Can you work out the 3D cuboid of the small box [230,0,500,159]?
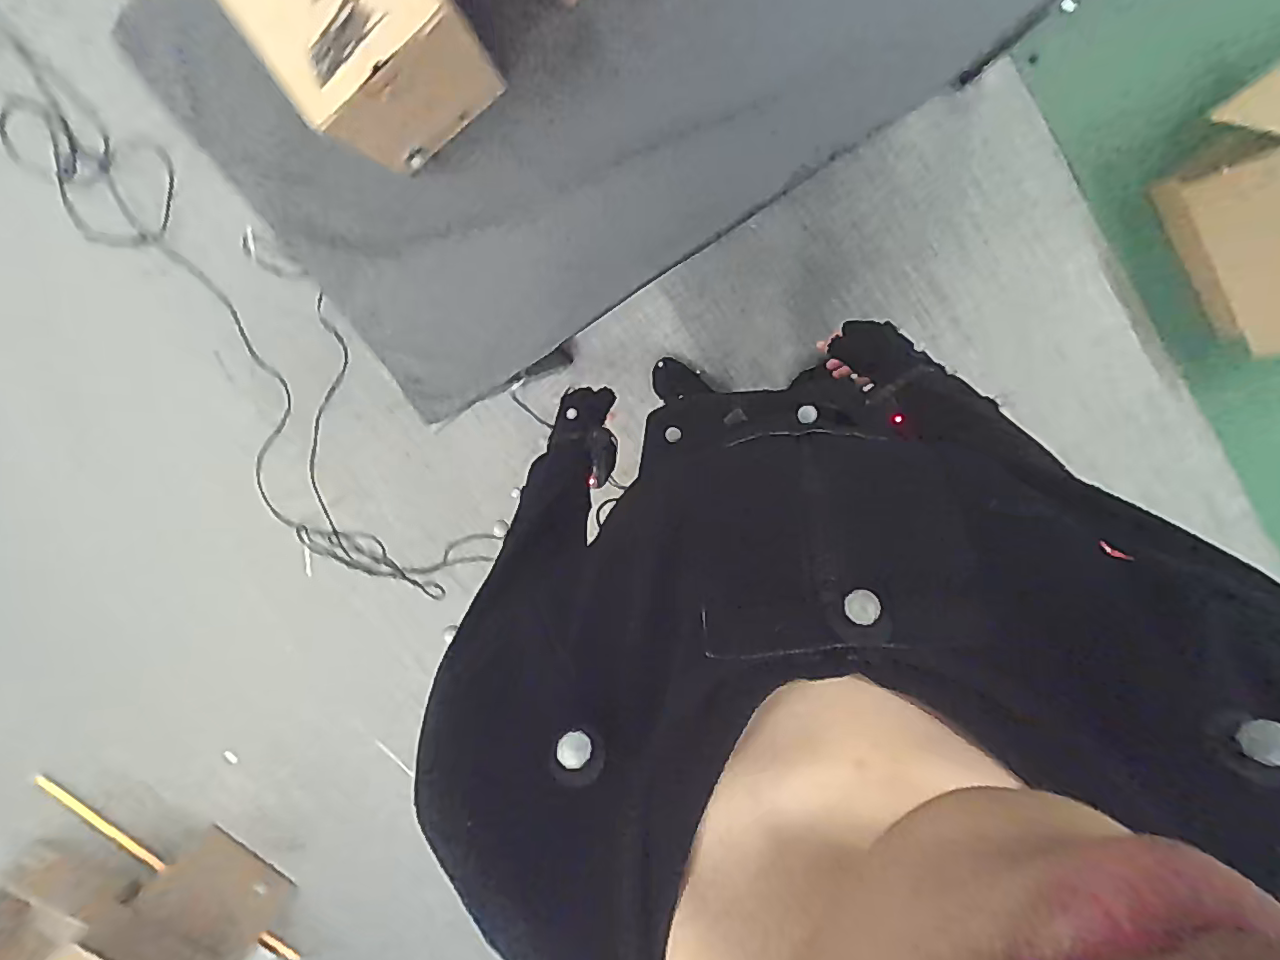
[{"bbox_3d":[-0.276,-0.468,0.559,0.168,0.176,0.179,-33,100,13],"label":"small box"}]
